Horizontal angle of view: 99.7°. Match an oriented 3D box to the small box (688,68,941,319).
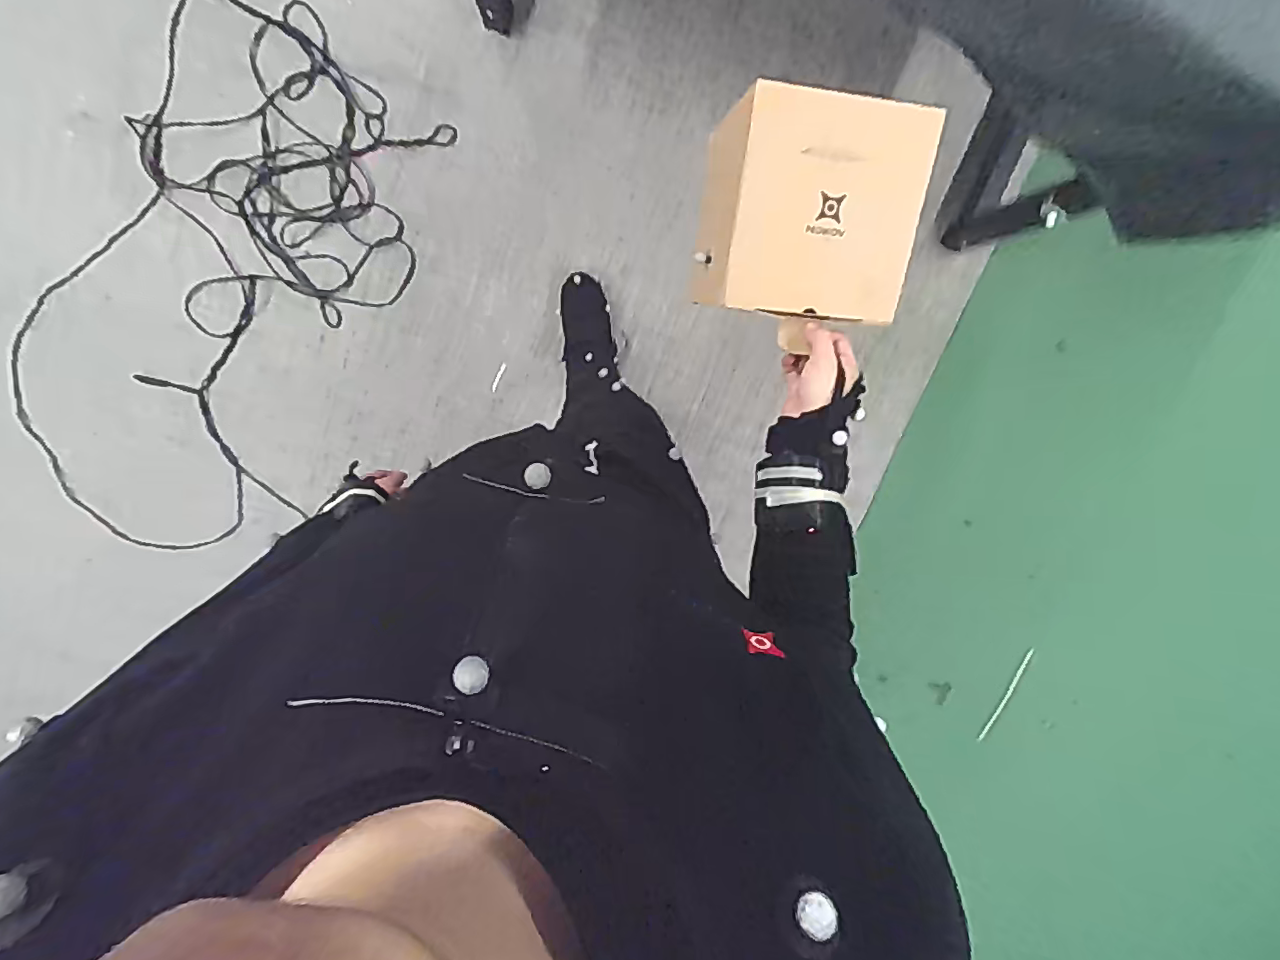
[{"bbox_3d":[0.150,-0.262,0.534,0.168,0.176,0.179,3,109,-9],"label":"small box"}]
